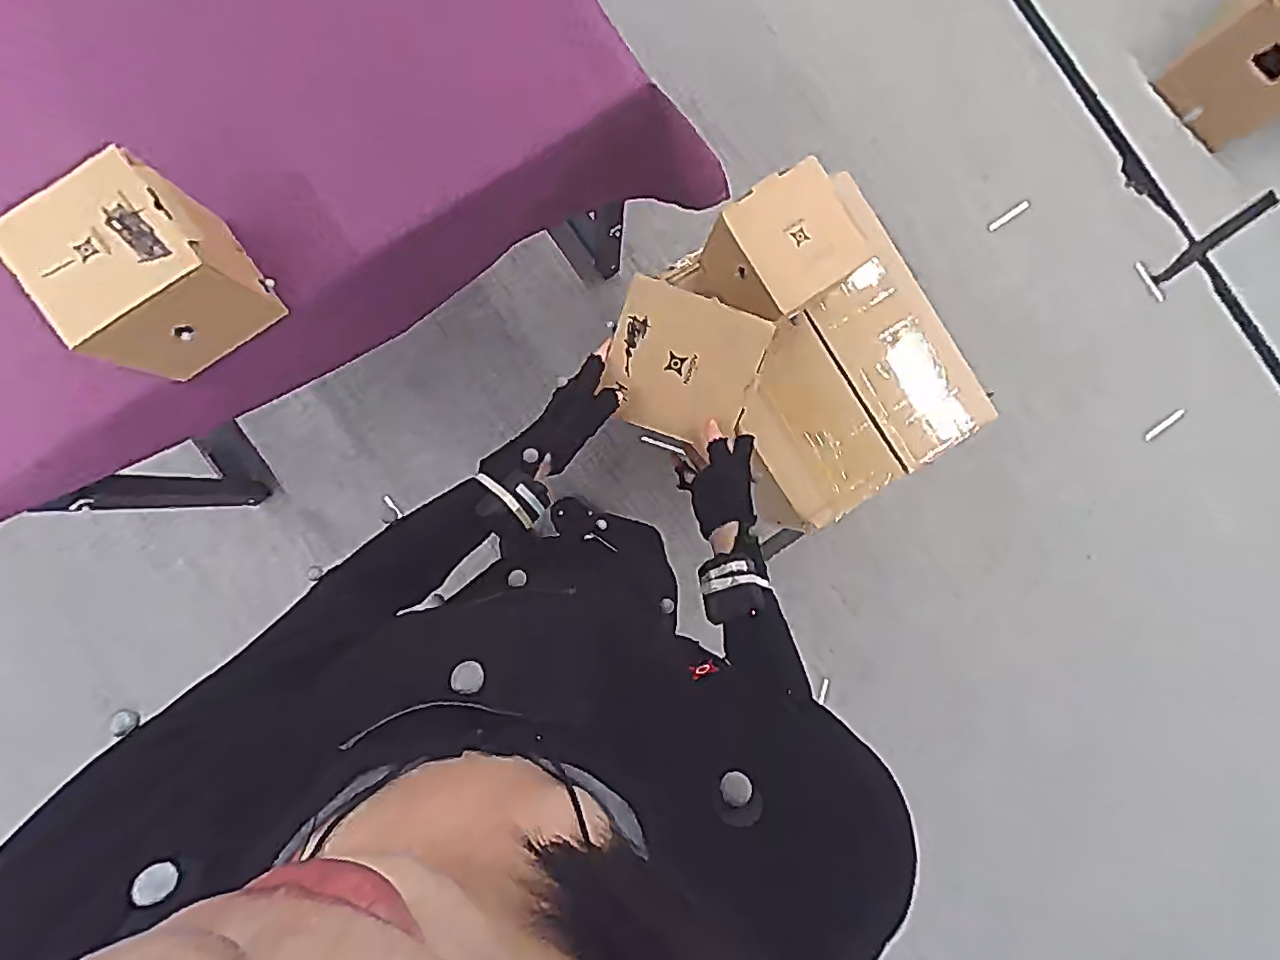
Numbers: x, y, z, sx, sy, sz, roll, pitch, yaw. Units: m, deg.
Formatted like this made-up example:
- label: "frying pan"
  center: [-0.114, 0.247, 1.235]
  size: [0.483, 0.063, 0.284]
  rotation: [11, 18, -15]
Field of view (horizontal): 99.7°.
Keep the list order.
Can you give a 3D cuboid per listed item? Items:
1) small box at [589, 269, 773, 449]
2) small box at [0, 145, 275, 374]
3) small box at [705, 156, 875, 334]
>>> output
- label: "small box"
  center: [0.044, -0.156, 0.705]
  size: [0.179, 0.176, 0.168]
  rotation: [18, 102, -6]
- label: "small box"
  center: [-0.607, -0.261, 0.680]
  size: [0.179, 0.176, 0.168]
  rotation: [-36, 90, -4]
- label: "small box"
  center: [0.222, -0.352, 0.854]
  size: [0.168, 0.176, 0.179]
  rotation: [-33, 92, -3]
